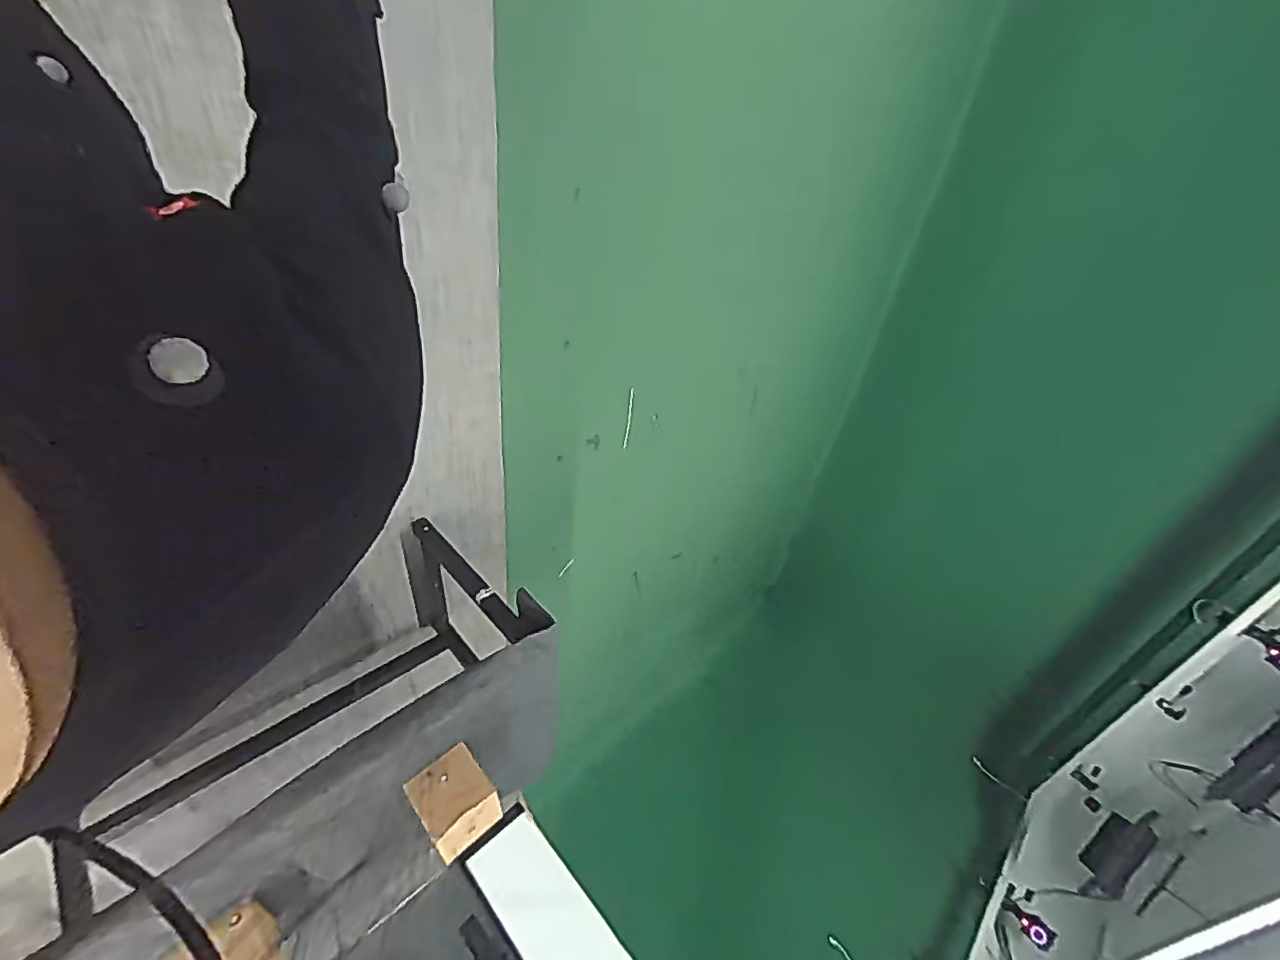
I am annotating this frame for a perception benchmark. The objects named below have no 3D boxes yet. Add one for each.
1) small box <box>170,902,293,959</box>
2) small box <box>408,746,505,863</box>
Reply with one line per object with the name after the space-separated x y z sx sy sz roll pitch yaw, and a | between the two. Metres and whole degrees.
-0.824 1.014 1.099 0.168 0.176 0.179 -27 139 -37 | small box
-0.470 0.829 1.394 0.168 0.176 0.179 -30 140 -35 | small box
